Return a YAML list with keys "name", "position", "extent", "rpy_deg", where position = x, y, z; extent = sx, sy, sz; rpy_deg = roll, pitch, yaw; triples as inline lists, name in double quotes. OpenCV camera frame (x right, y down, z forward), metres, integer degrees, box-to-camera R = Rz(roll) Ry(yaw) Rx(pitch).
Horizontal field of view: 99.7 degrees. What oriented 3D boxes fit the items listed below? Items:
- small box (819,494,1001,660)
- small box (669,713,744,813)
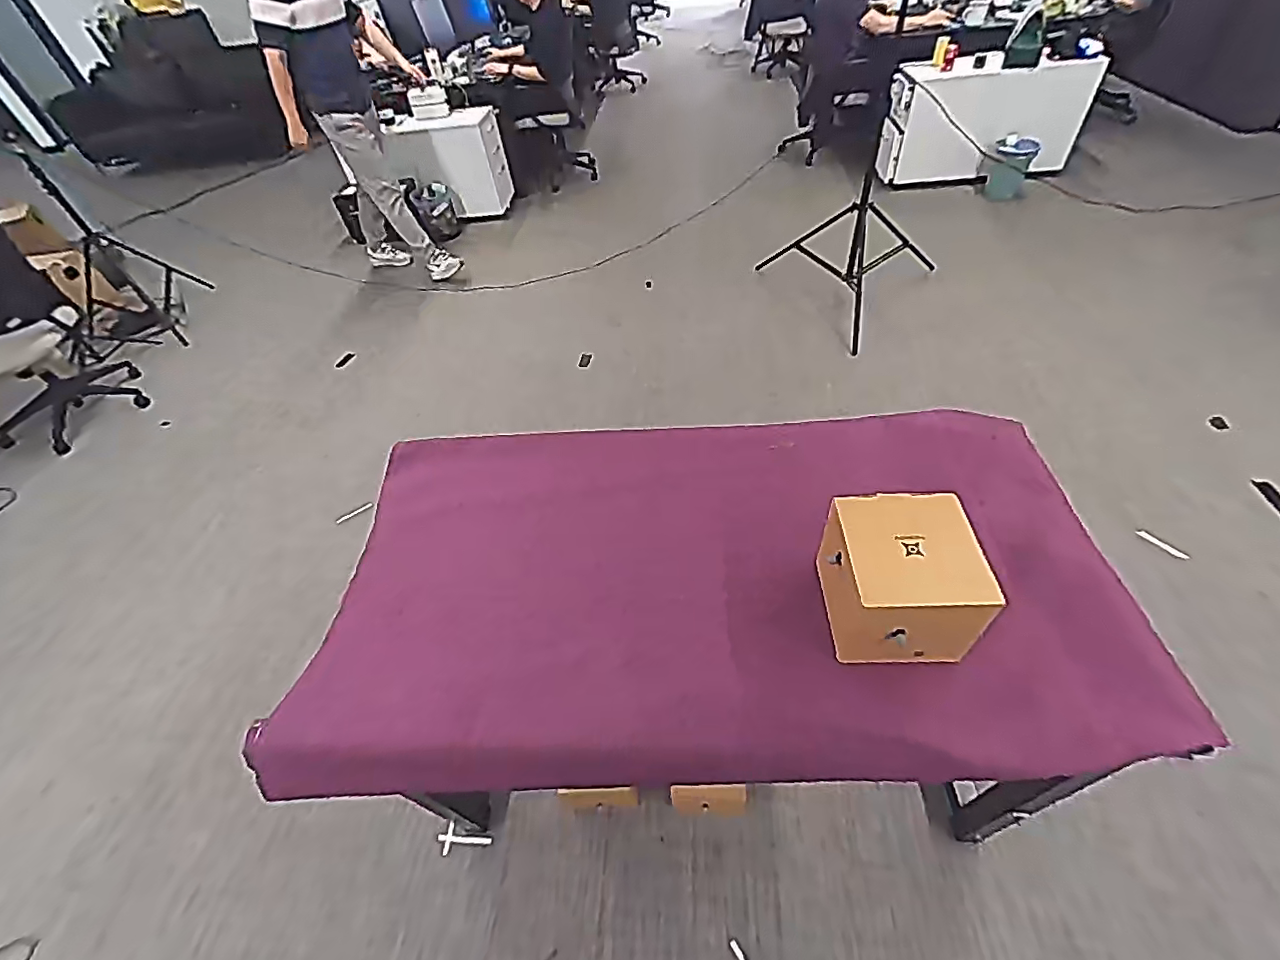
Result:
- name: "small box"
  position: [0.359, 0.141, 0.760]
  extent: [0.168, 0.176, 0.179]
  rpy_deg: [-3, 47, 6]
- name: "small box"
  position: [0.161, 0.676, 1.289]
  extent: [0.168, 0.176, 0.179]
  rpy_deg: [0, 47, 7]
